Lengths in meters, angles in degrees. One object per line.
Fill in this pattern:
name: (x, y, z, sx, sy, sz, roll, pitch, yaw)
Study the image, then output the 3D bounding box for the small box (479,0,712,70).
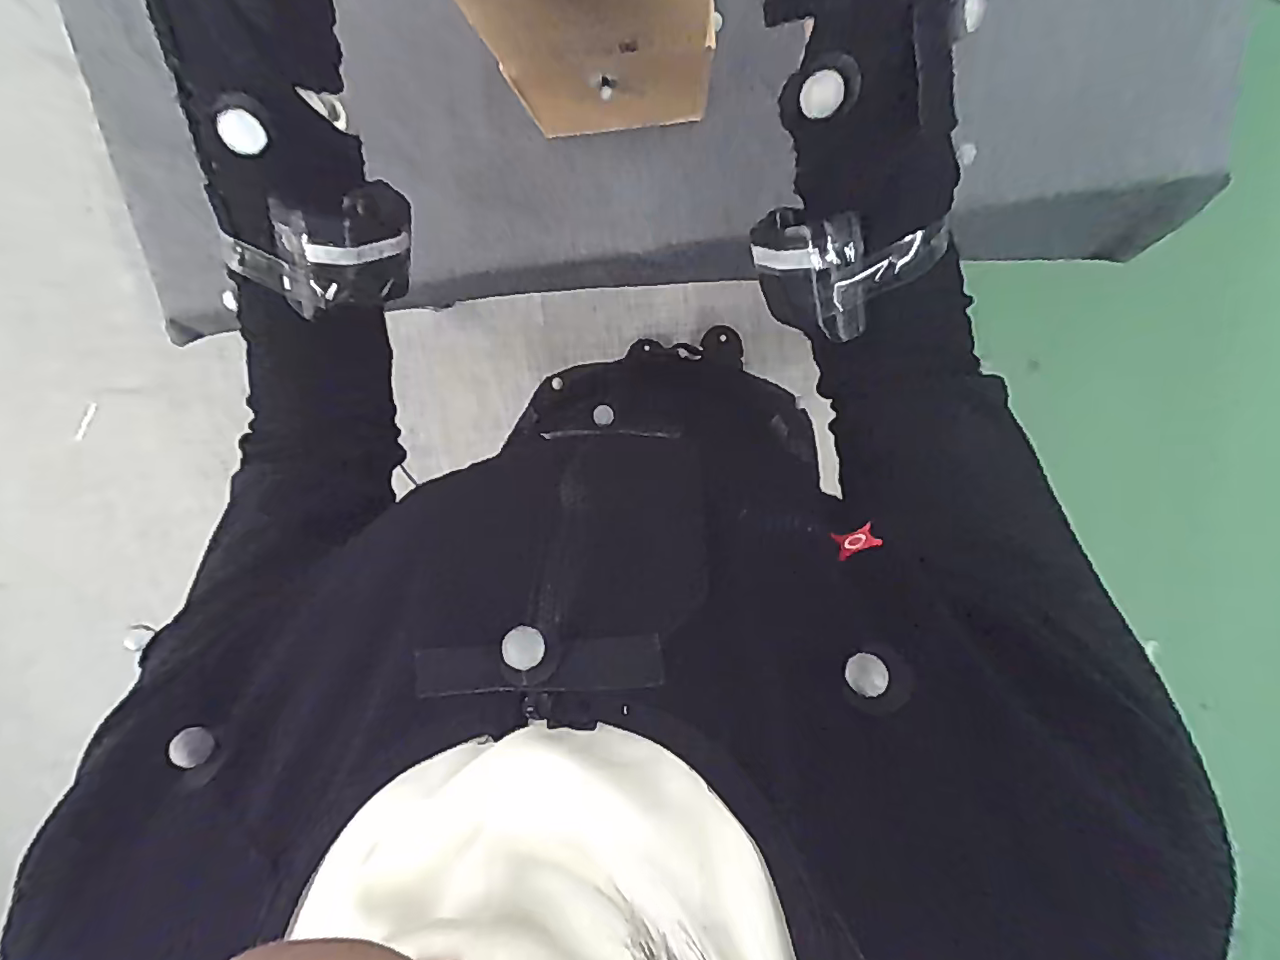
small box: (-0.039, -0.401, 0.338, 0.168, 0.176, 0.179, -5, 108, 4)

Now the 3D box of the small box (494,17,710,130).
small box: (-0.031, -0.443, 0.492, 0.179, 0.176, 0.168, -4, 106, 4)
